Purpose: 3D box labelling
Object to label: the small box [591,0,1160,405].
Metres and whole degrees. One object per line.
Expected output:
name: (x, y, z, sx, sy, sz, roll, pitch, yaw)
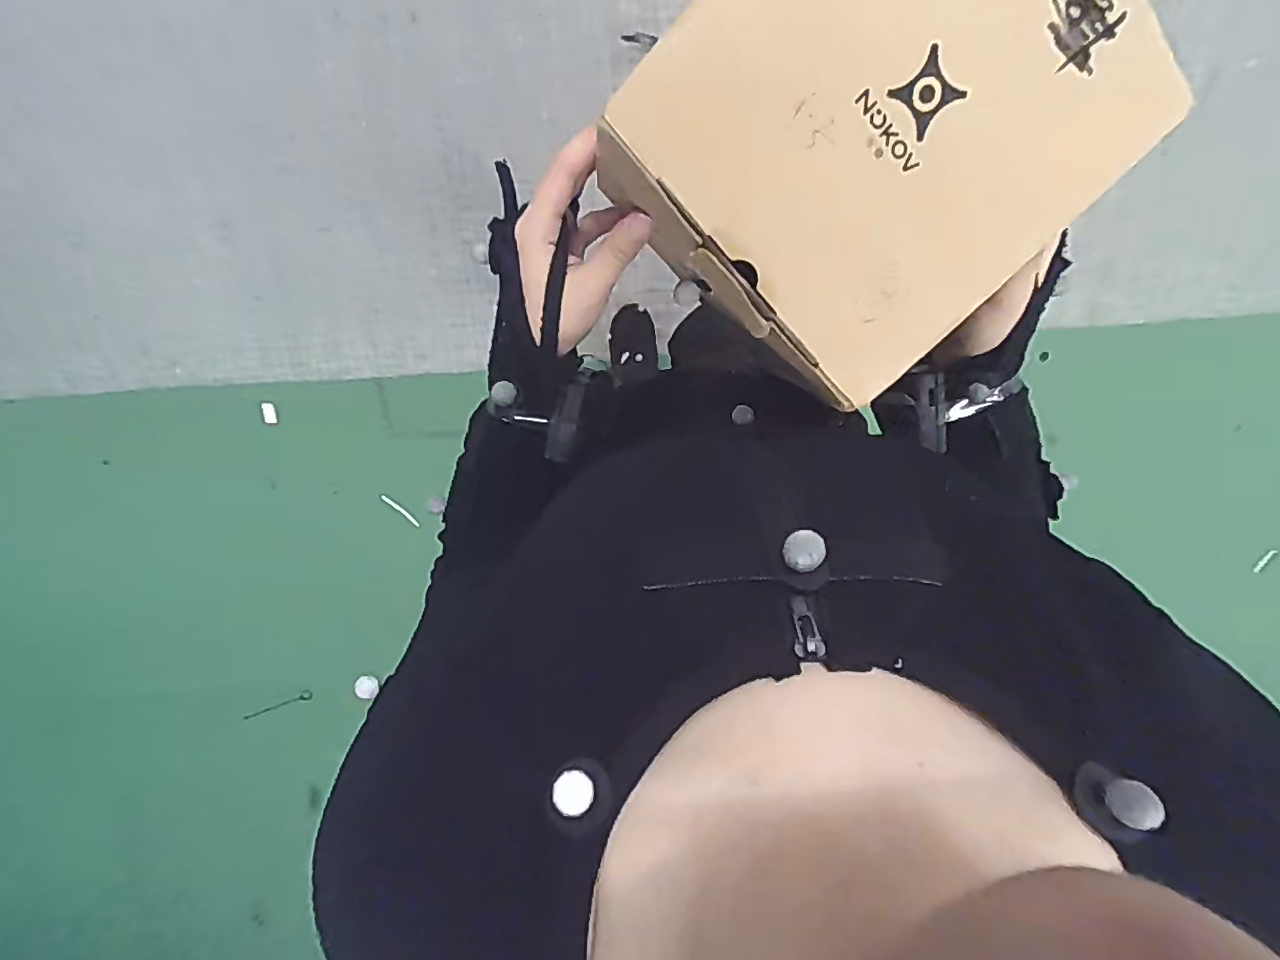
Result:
small box: (0.094, -0.171, 0.293, 0.168, 0.176, 0.179, 42, 103, -17)
